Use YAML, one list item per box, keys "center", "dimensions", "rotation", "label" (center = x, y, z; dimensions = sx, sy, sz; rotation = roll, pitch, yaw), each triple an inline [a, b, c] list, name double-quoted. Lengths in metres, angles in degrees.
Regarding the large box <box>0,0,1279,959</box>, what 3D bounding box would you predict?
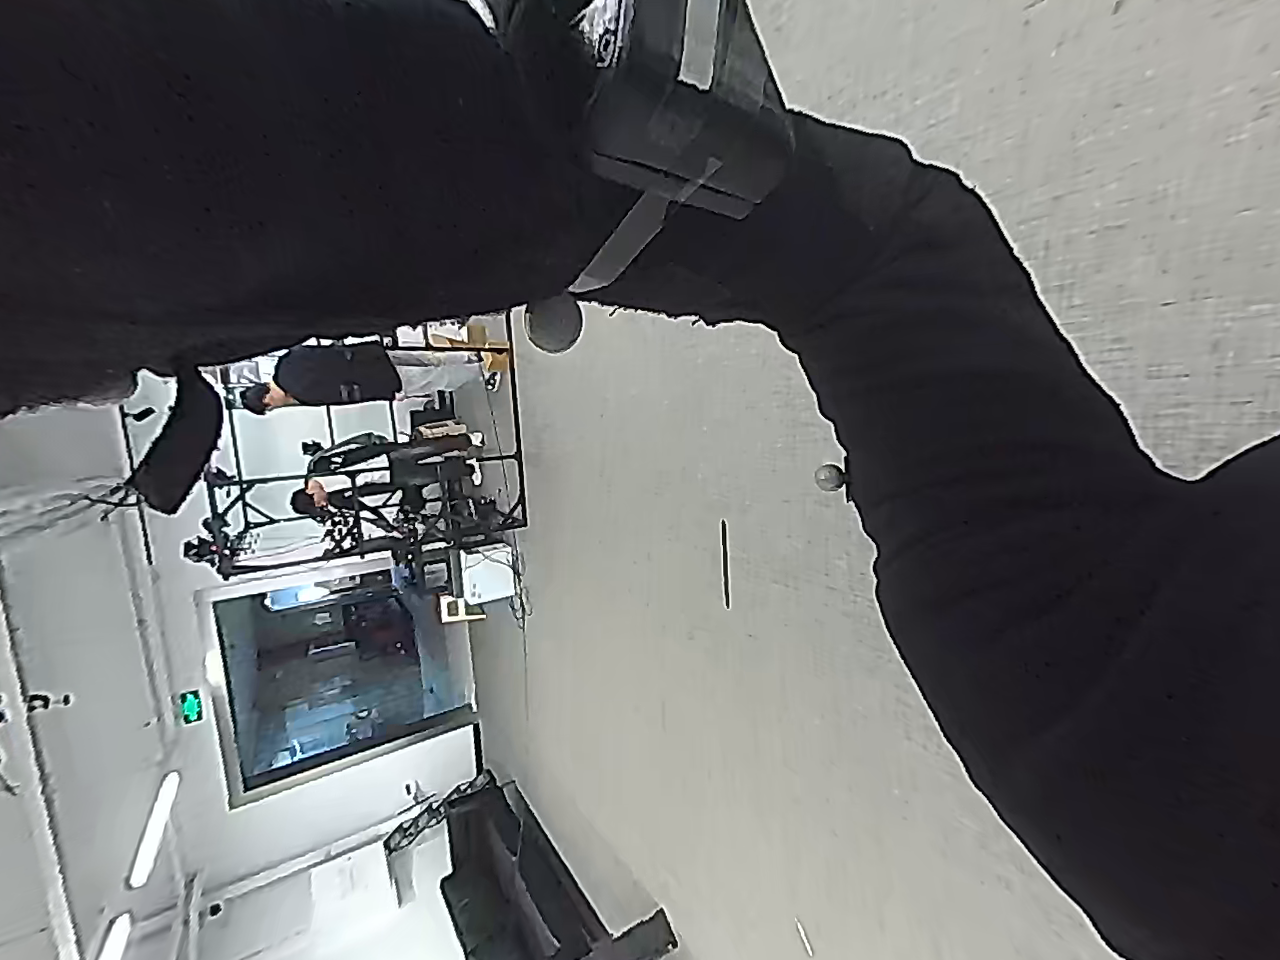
- center: [0.097, 0.051, 0.162]
  dimensions: [0.408, 0.320, 0.320]
  rotation: [15, -114, 49]
  label: "large box"
